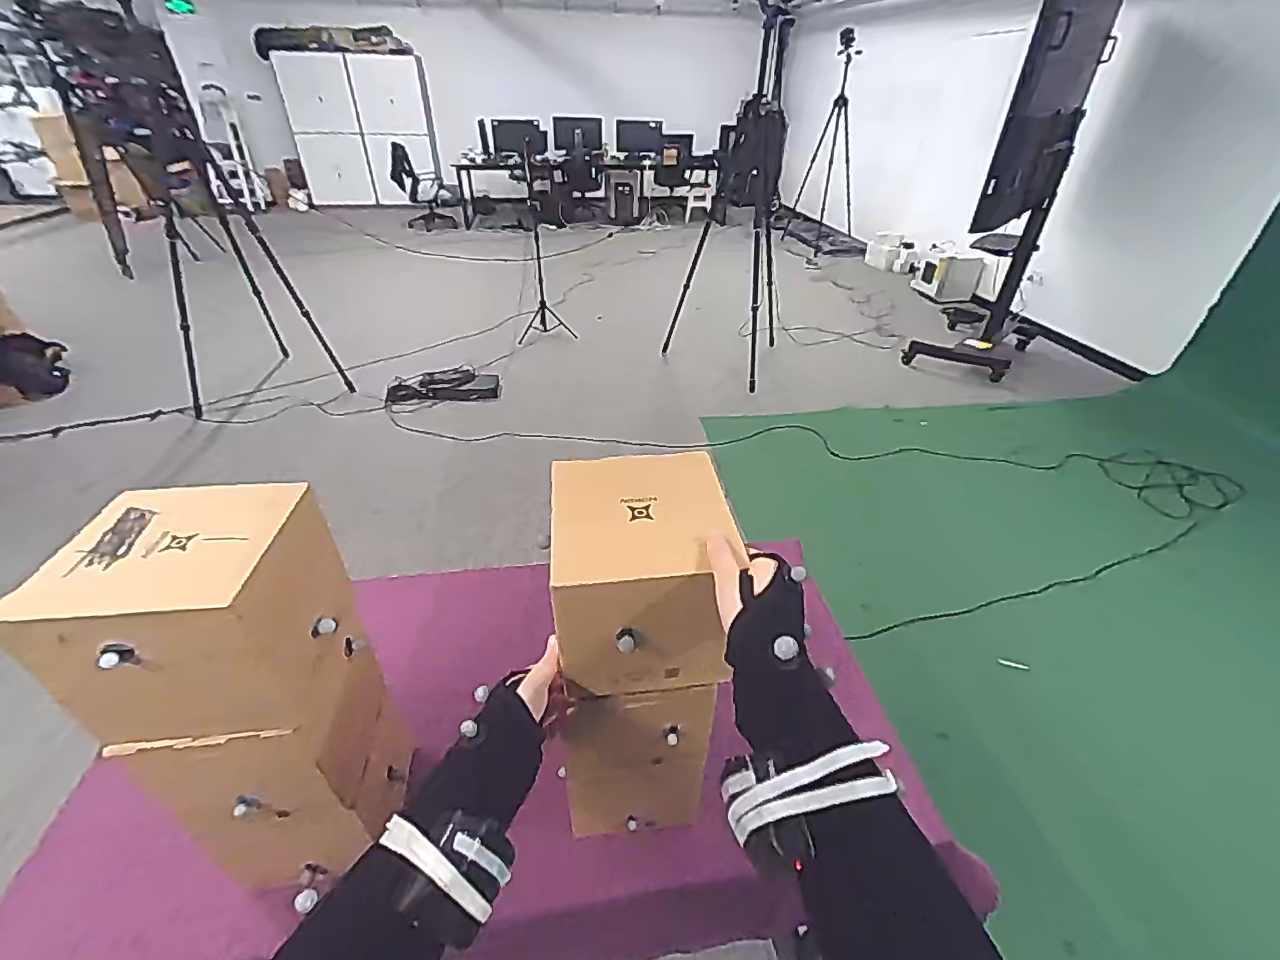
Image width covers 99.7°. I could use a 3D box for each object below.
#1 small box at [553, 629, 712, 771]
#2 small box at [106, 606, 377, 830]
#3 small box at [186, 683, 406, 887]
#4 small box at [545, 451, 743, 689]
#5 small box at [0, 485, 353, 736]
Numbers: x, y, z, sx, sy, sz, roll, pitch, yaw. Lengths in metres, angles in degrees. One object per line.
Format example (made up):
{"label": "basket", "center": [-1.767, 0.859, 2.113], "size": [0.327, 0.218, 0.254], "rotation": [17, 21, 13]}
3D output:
{"label": "small box", "center": [-0.017, 0.231, 0.660], "size": [0.168, 0.176, 0.179], "rotation": [-3, 37, -8]}
{"label": "small box", "center": [-0.416, 0.256, 0.610], "size": [0.168, 0.176, 0.179], "rotation": [-4, 36, -7]}
{"label": "small box", "center": [-0.420, 0.393, 0.703], "size": [0.179, 0.176, 0.168], "rotation": [-4, 36, -9]}
{"label": "small box", "center": [-0.003, 0.093, 0.548], "size": [0.168, 0.176, 0.179], "rotation": [-5, 37, -6]}
{"label": "small box", "center": [-0.408, 0.122, 0.515], "size": [0.179, 0.176, 0.168], "rotation": [-2, 36, -7]}
